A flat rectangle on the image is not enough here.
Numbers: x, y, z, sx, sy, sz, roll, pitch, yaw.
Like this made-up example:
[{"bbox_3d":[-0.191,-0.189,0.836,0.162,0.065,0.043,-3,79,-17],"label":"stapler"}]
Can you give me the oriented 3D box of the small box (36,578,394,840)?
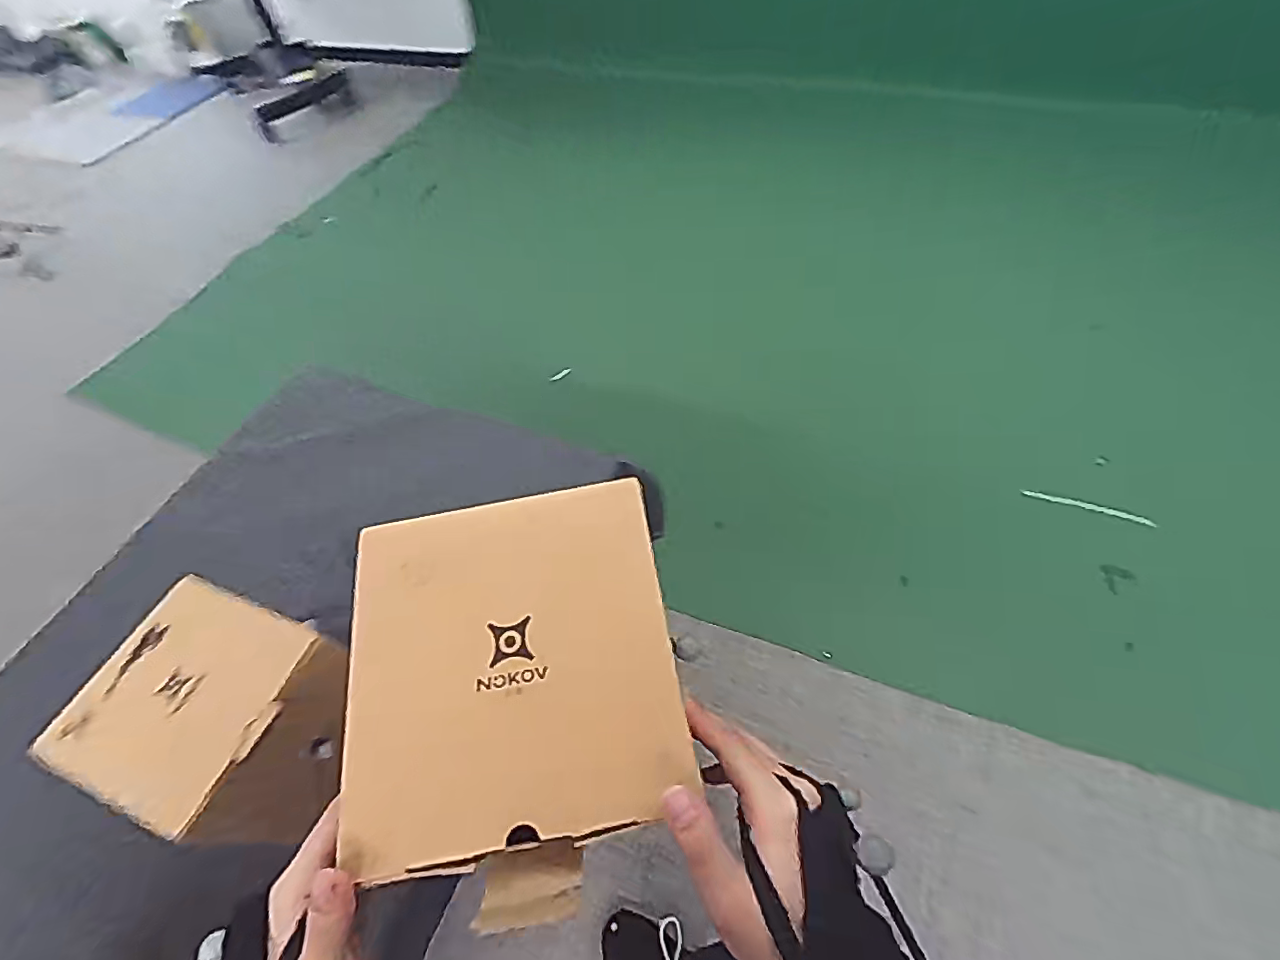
[{"bbox_3d":[-0.382,0.223,0.528,0.179,0.176,0.168,16,59,14],"label":"small box"}]
